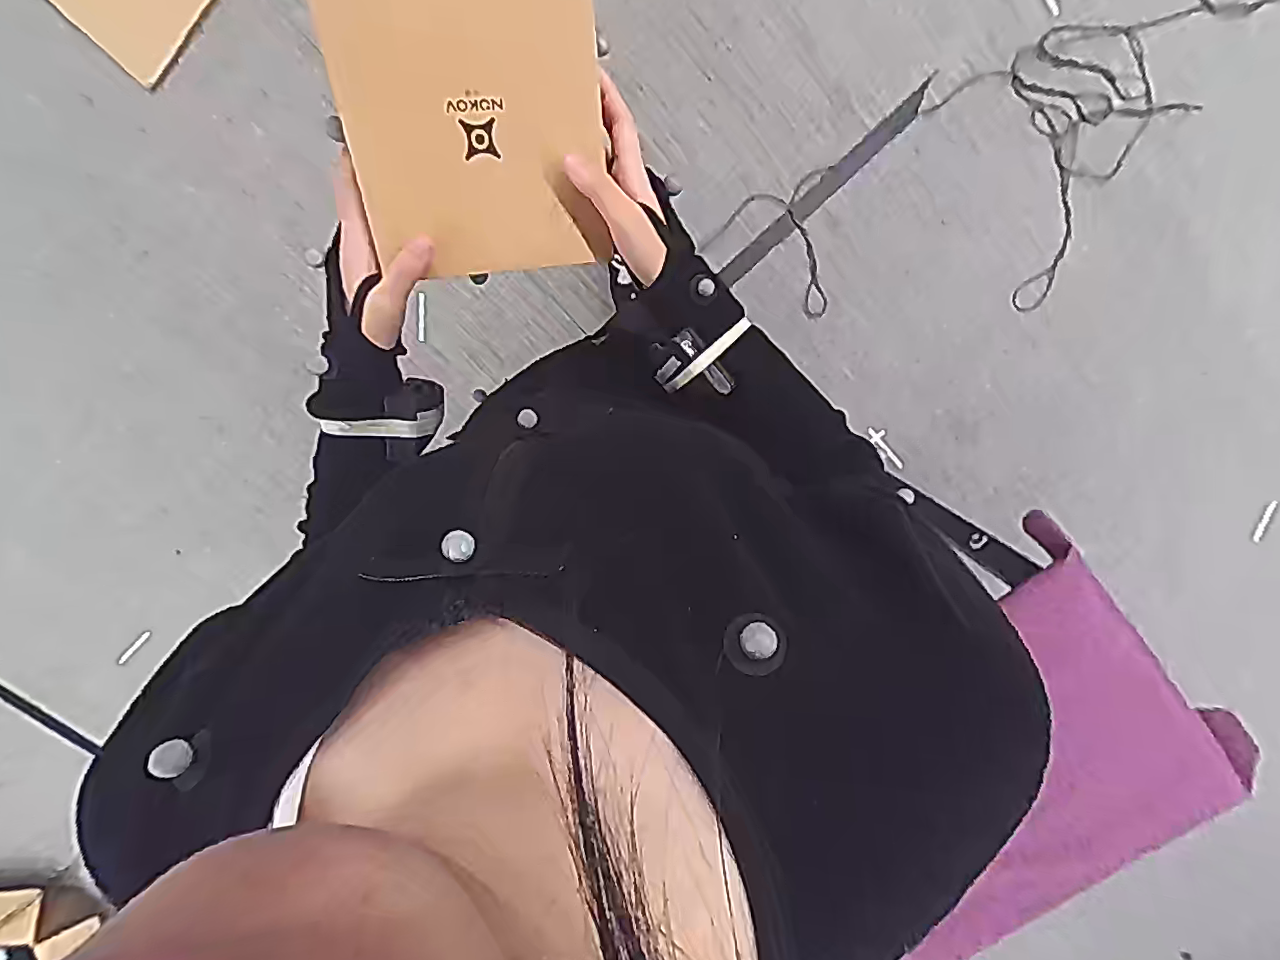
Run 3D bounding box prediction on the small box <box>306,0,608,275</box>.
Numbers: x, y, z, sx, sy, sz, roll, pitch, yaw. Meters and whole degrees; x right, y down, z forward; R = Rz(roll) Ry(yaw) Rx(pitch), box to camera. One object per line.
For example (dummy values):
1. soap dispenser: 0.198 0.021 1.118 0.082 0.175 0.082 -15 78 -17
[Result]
1. small box: -0.123 -0.266 0.417 0.168 0.176 0.179 -10 117 -9
